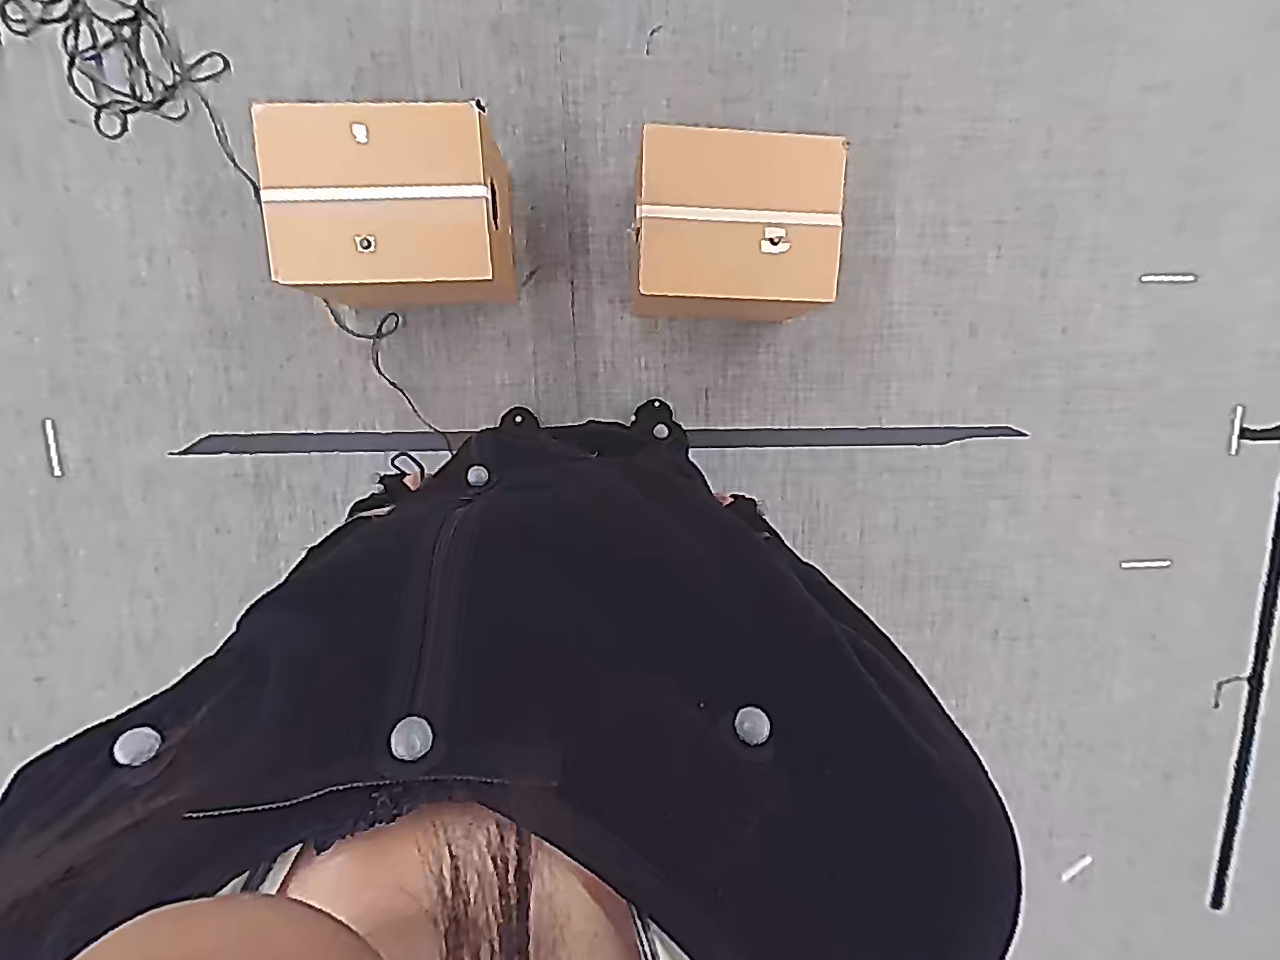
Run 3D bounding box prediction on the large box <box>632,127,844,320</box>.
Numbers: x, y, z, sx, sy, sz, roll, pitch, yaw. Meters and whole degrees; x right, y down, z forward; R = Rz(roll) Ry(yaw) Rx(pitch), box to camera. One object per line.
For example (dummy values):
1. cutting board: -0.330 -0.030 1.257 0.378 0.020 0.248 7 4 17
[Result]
1. large box: 0.190 -0.546 1.220 0.408 0.320 0.320 1 99 -6
